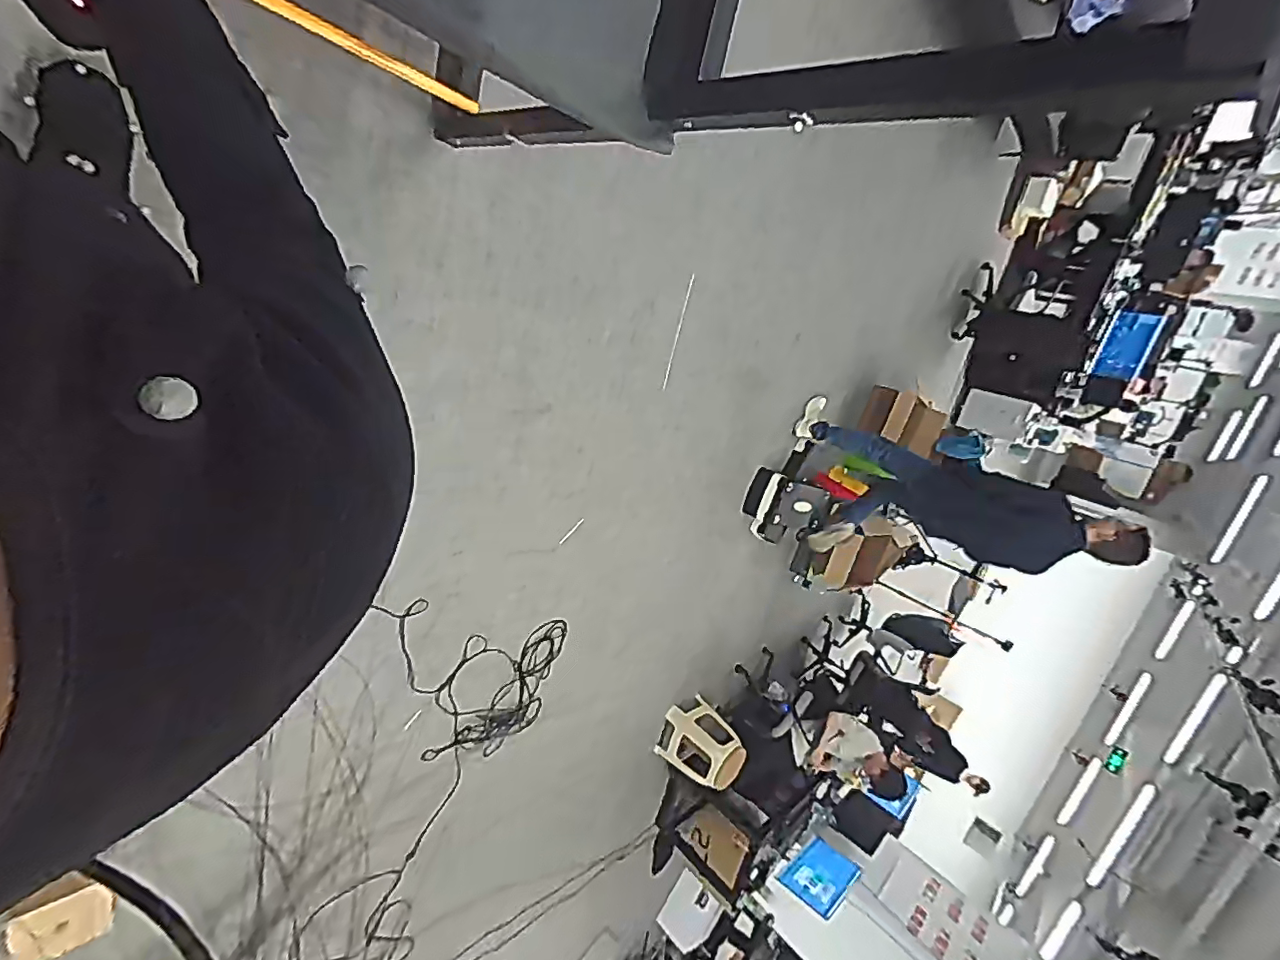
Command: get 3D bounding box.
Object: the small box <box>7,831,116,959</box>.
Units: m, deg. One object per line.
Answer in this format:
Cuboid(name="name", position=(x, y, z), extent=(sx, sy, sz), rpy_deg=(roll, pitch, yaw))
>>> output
Cuboid(name="small box", position=(-1.377, 0.998, 1.290), extent=(0.168, 0.176, 0.179), rpy_deg=(-6, 114, -48))
